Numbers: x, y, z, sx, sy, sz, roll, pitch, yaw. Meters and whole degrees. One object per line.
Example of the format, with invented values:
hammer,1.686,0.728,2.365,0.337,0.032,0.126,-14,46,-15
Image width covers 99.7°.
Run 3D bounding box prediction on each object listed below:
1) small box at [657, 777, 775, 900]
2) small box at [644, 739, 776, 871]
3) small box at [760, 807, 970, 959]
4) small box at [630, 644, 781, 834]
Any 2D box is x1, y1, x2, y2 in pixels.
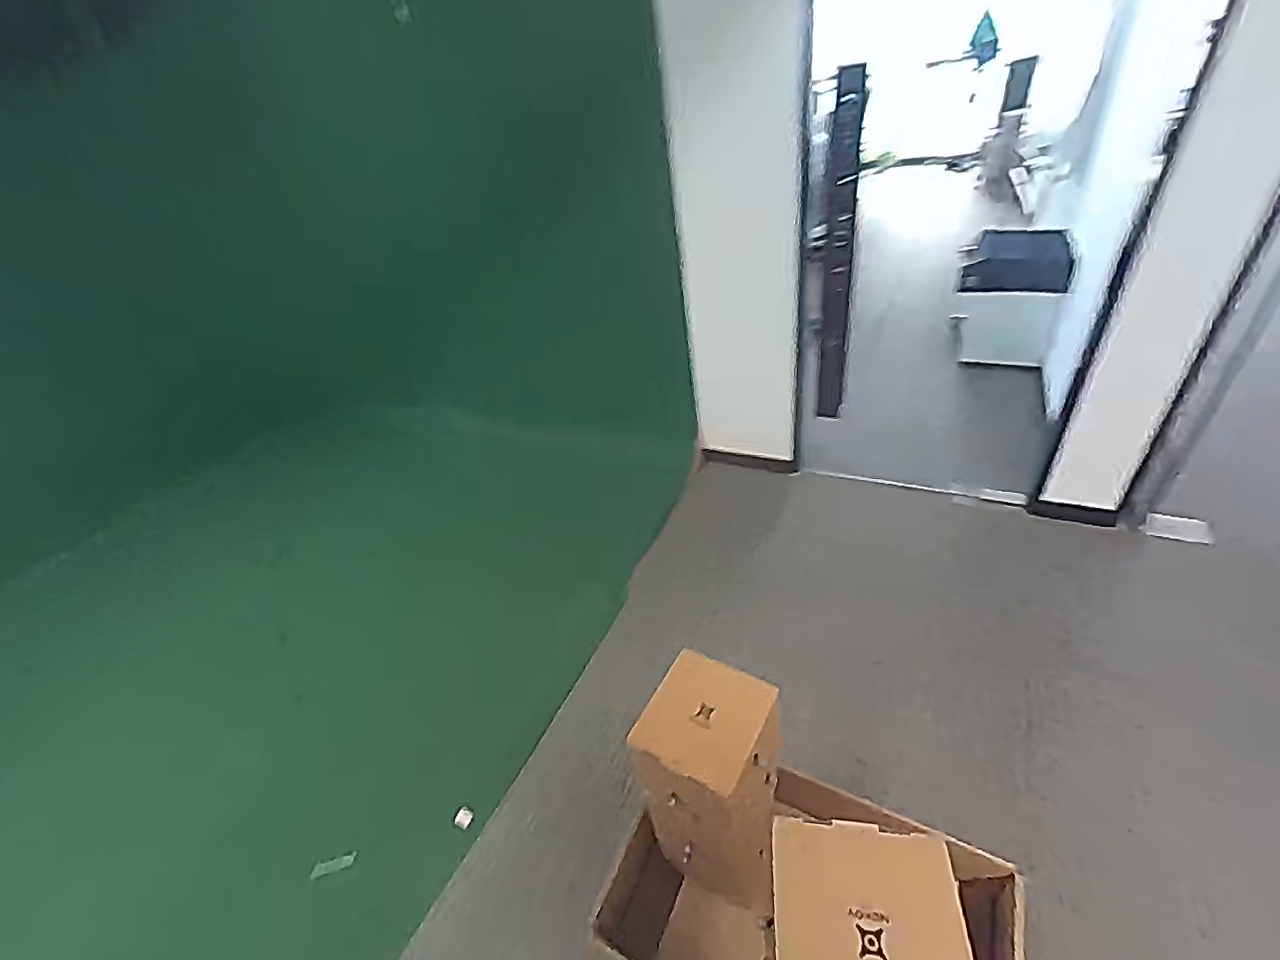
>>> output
small box,0.152,0.652,1.040,0.168,0.176,0.179,12,43,29
small box,0.127,0.525,0.941,0.168,0.176,0.179,15,44,30
small box,0.206,0.455,0.530,0.168,0.176,0.179,2,42,10
small box,0.107,0.398,0.841,0.168,0.176,0.179,16,46,31
